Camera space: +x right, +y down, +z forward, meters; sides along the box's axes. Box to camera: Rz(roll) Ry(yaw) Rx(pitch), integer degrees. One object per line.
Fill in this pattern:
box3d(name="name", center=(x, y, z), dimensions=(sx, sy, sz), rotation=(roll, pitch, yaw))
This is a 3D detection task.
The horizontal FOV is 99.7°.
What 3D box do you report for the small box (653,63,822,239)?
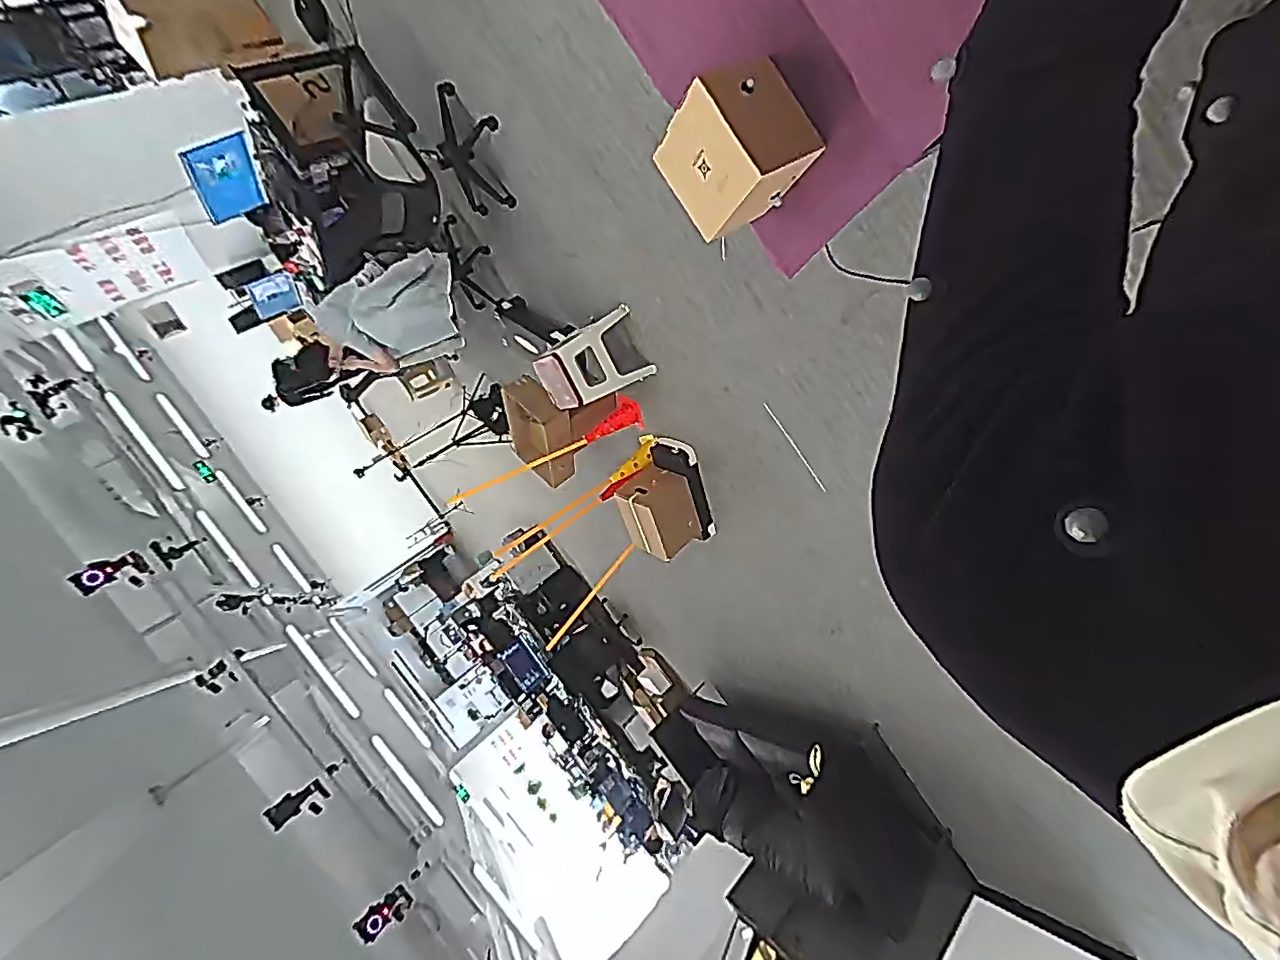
box3d(name="small box", center=(0.160, -0.545, 0.895), dimensions=(0.179, 0.176, 0.168), rotation=(55, 155, -3))
